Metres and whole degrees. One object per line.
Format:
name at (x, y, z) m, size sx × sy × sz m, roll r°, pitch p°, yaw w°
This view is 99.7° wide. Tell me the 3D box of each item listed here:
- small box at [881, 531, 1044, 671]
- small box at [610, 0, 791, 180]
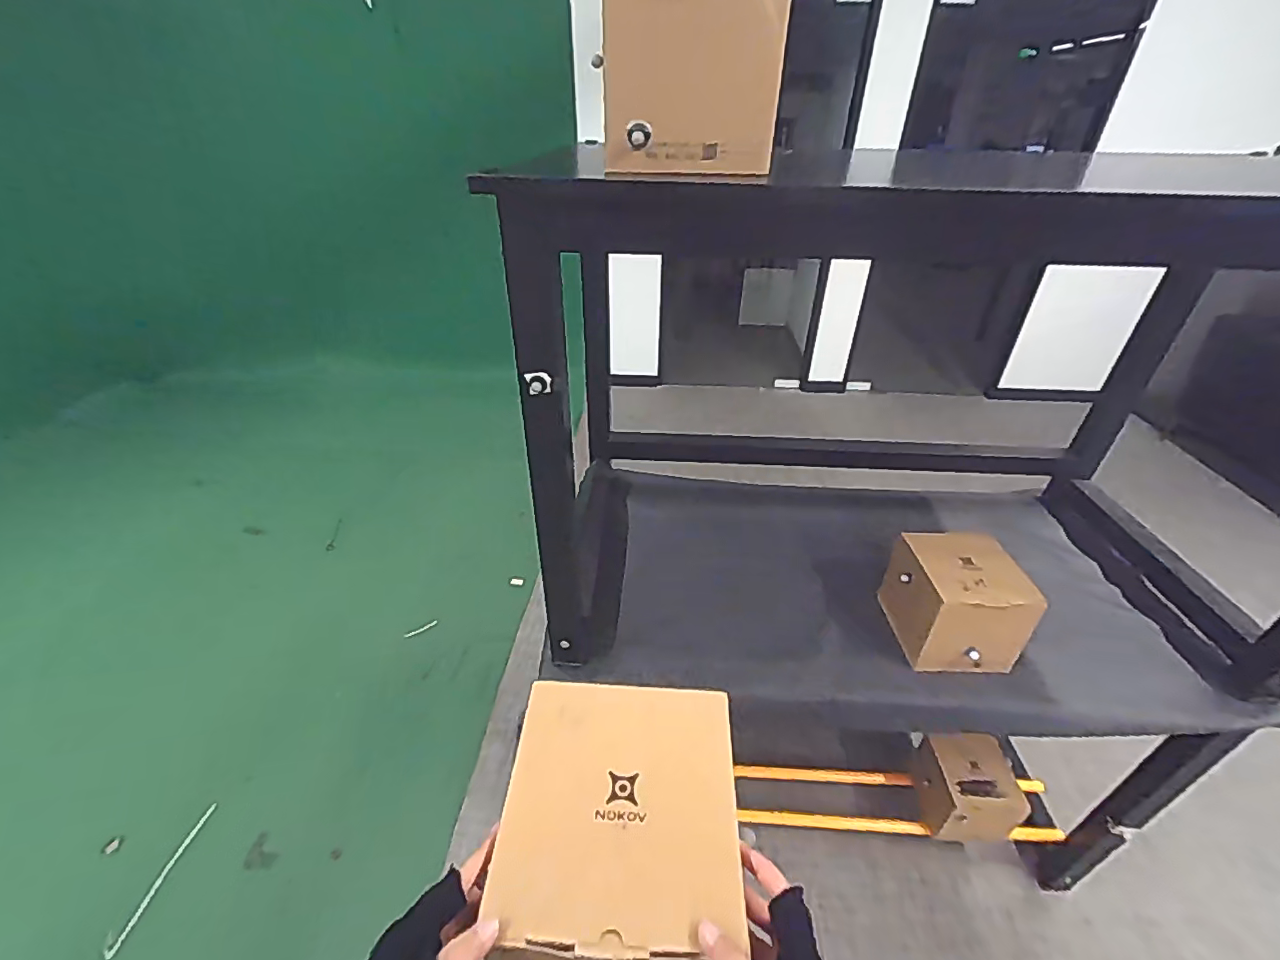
small box at (0.551, 0.211, 0.958) m, size 0.168 × 0.176 × 0.179 m, roll 0°, pitch 33°, yaw 0°
small box at (0.054, -0.421, 0.575) m, size 0.168 × 0.176 × 0.179 m, roll 0°, pitch 33°, yaw -2°
